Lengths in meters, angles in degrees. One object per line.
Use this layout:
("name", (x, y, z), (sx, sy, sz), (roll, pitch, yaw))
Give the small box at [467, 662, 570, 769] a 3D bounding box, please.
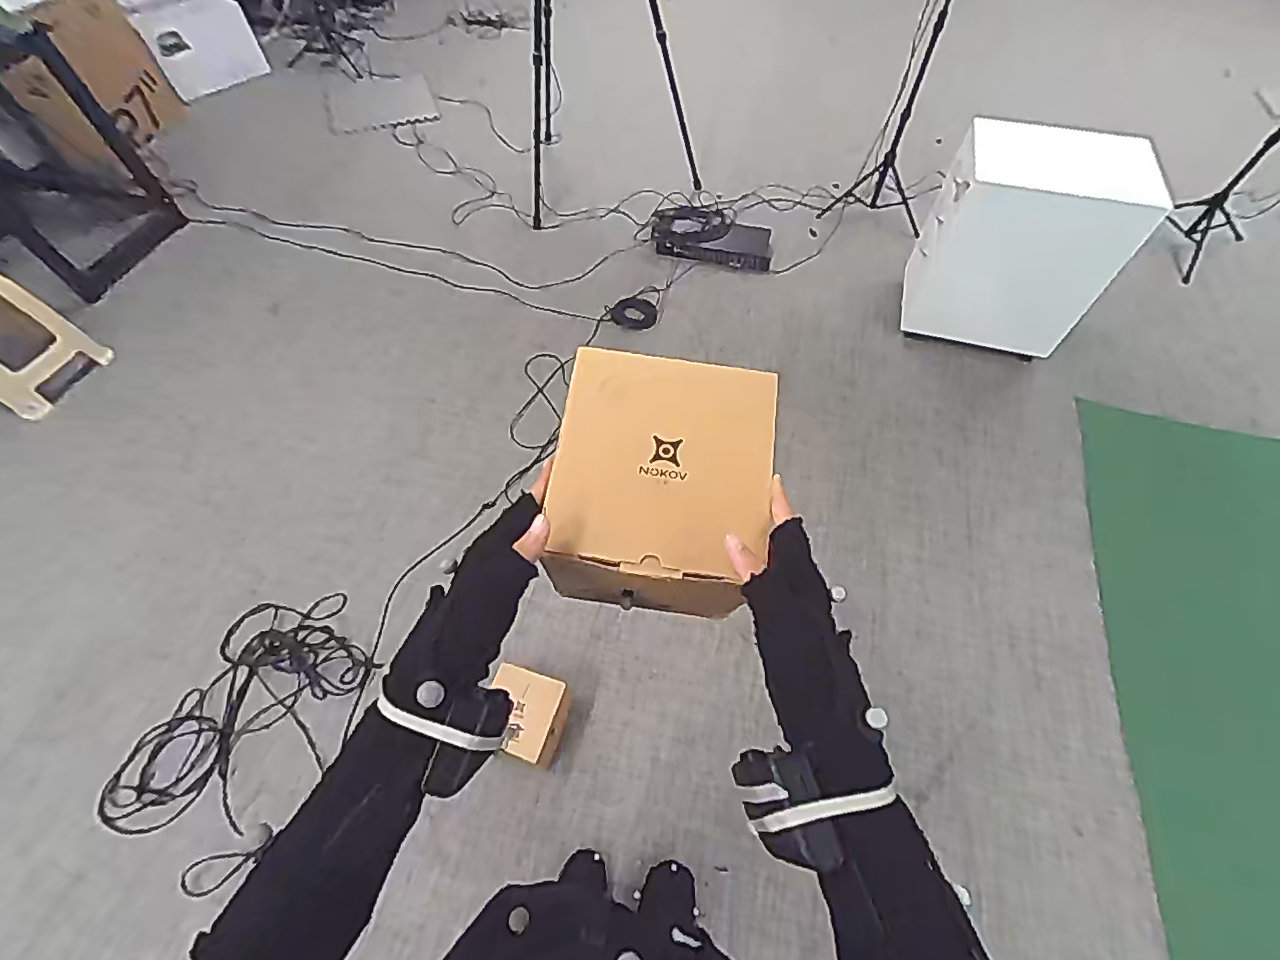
("small box", (-0.274, 0.560, 1.274), (0.168, 0.176, 0.179), (15, 58, 10))
